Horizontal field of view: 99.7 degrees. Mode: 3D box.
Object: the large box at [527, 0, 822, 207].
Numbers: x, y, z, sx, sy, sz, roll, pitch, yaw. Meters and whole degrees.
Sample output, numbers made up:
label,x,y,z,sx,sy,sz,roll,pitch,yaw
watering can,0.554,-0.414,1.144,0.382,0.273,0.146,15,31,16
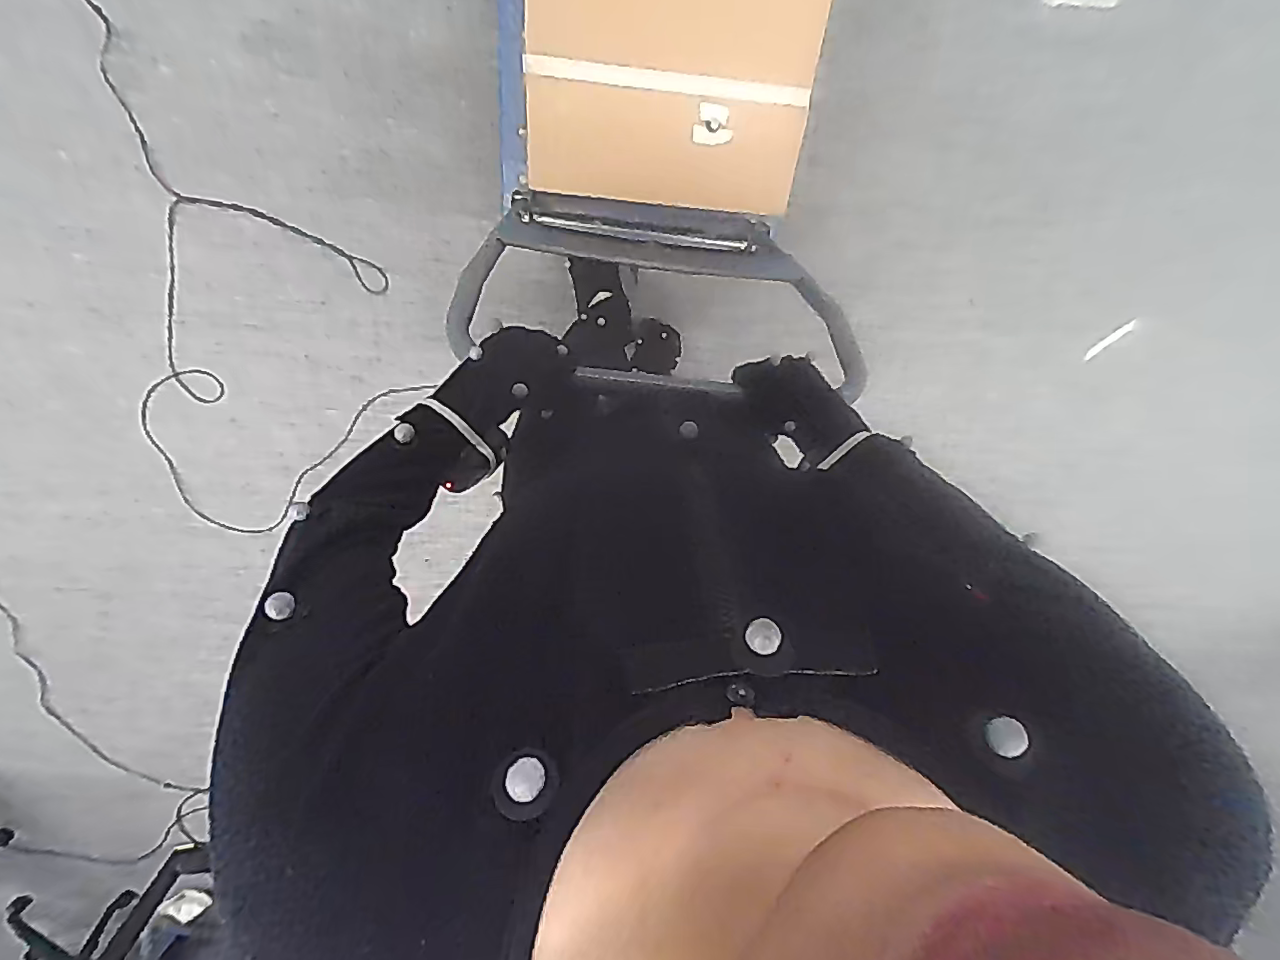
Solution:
label,x,y,z,sx,sy,sz,roll,pitch,yaw
large box,0.032,-0.656,0.895,0.408,0.320,0.320,2,125,-6
